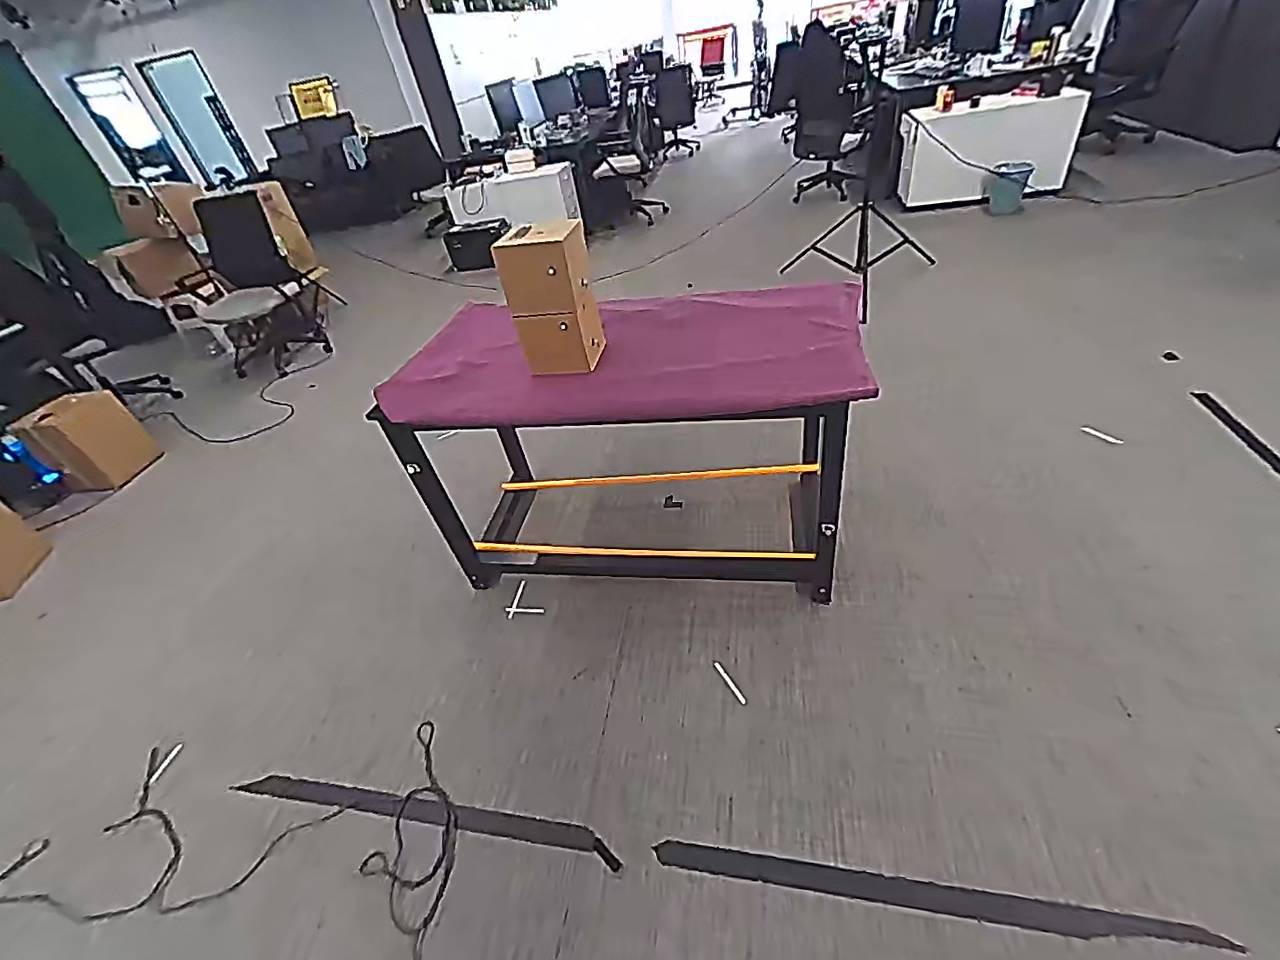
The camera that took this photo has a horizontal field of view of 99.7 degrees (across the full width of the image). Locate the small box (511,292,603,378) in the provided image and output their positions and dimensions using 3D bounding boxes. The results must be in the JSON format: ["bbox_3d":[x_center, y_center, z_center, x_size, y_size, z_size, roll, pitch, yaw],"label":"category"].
[{"bbox_3d":[-0.210,-0.379,1.428,0.179,0.176,0.168,0,40,13],"label":"small box"}]
